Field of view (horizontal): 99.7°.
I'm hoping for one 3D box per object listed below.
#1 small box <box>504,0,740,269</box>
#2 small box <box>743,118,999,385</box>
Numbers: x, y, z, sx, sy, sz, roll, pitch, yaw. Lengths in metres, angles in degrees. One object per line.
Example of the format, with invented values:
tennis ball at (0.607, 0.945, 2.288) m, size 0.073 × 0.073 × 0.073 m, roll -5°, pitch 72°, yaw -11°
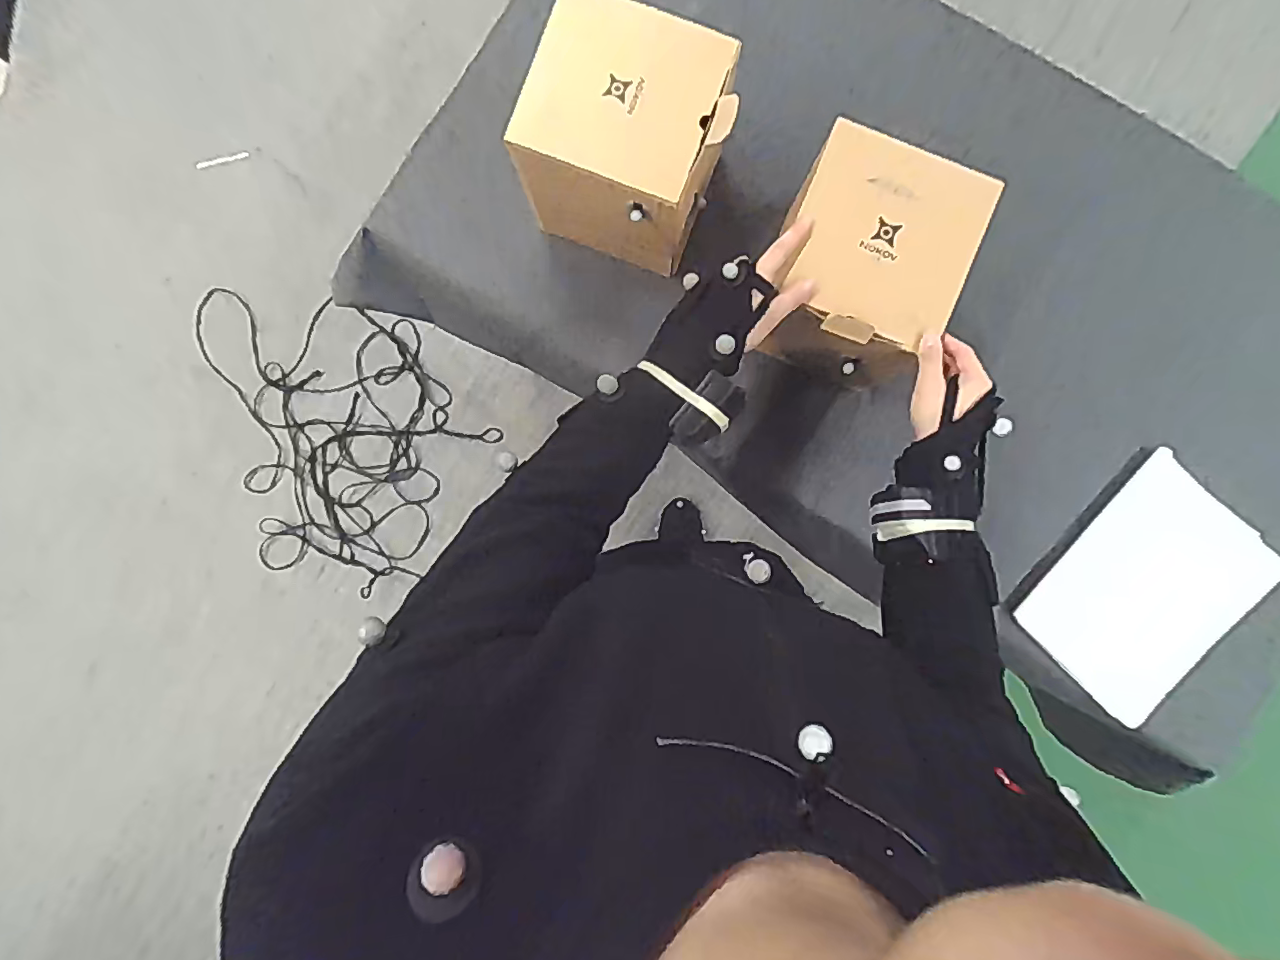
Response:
small box at (-0.016, -0.353, 0.574) m, size 0.179 × 0.176 × 0.168 m, roll 20°, pitch 88°, yaw 0°
small box at (0.219, -0.218, 0.568) m, size 0.168 × 0.176 × 0.179 m, roll 22°, pitch 88°, yaw 0°
